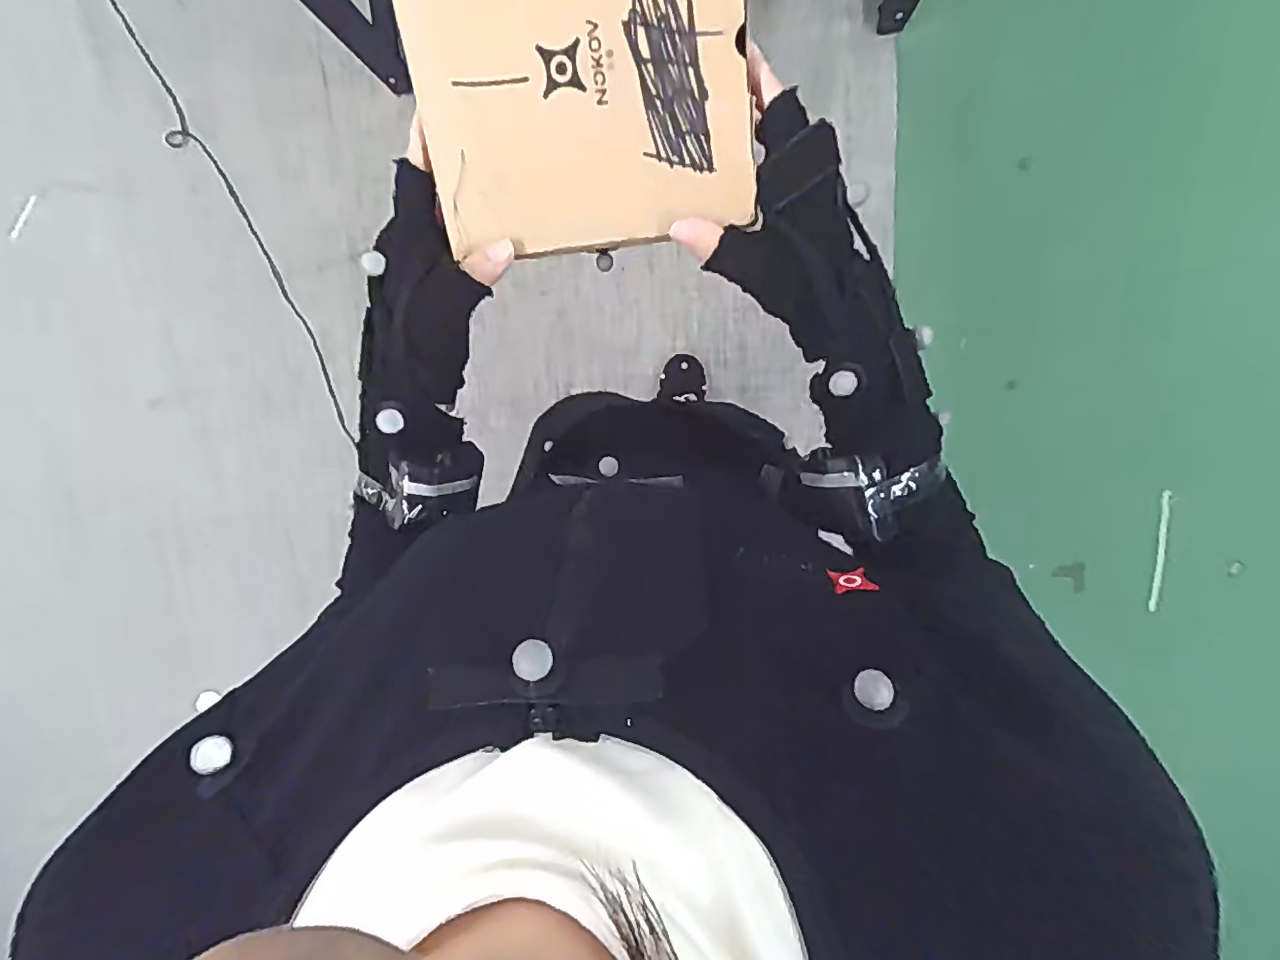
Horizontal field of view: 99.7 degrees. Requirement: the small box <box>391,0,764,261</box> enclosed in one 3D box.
[{"bbox_3d":[-0.029,-0.246,0.346,0.179,0.176,0.168,-9,113,6],"label":"small box"}]
